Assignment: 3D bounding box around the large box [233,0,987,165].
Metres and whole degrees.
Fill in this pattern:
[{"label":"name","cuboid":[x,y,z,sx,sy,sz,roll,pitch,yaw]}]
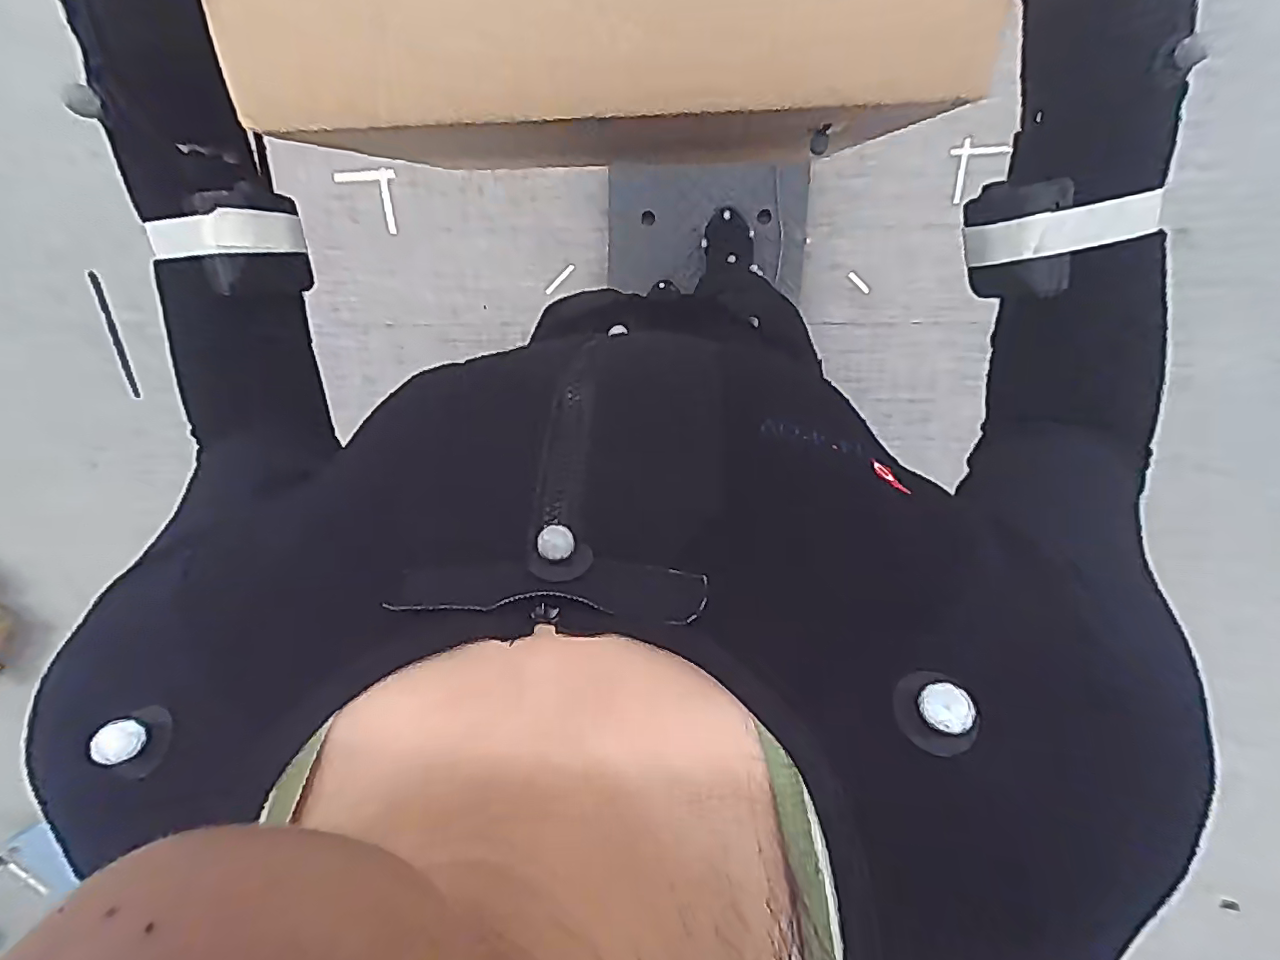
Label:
[{"label":"large box","cuboid":[-0.016,-0.410,0.370,0.408,0.320,0.320,0,116,4]}]
